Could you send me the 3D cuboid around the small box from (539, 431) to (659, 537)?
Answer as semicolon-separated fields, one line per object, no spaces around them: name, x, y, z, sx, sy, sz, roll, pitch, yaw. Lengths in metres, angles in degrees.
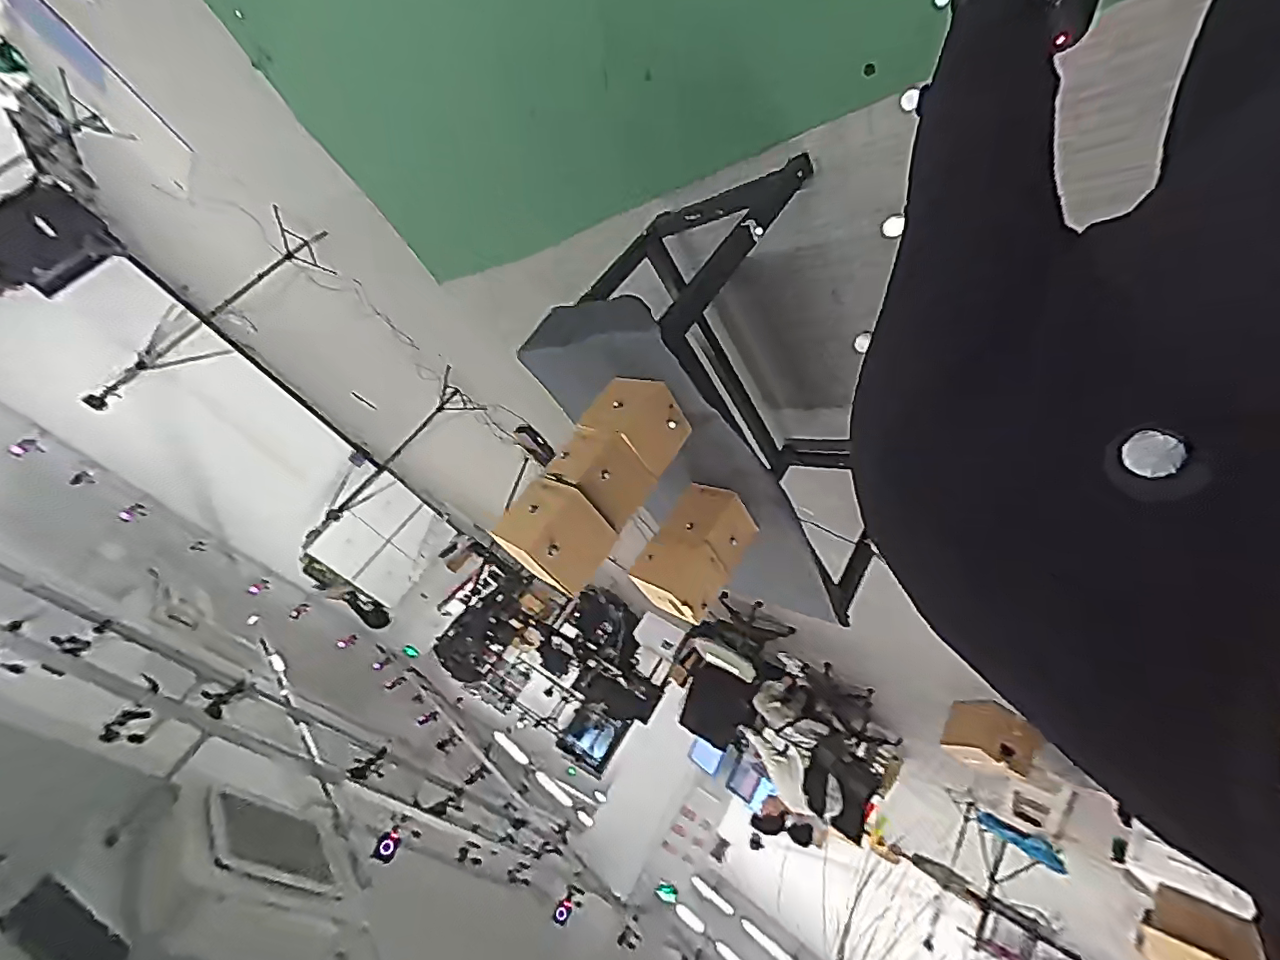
small box;-0.092;0.003;1.249;0.168;0.176;0.179;11;149;52

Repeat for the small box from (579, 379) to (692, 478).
small box;-0.007;-0.126;1.300;0.179;0.176;0.168;14;151;44

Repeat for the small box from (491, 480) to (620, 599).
small box;-0.177;0.121;1.168;0.168;0.176;0.179;15;151;48

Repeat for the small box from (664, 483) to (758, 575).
small box;0.205;0.135;1.525;0.168;0.176;0.179;11;148;47
